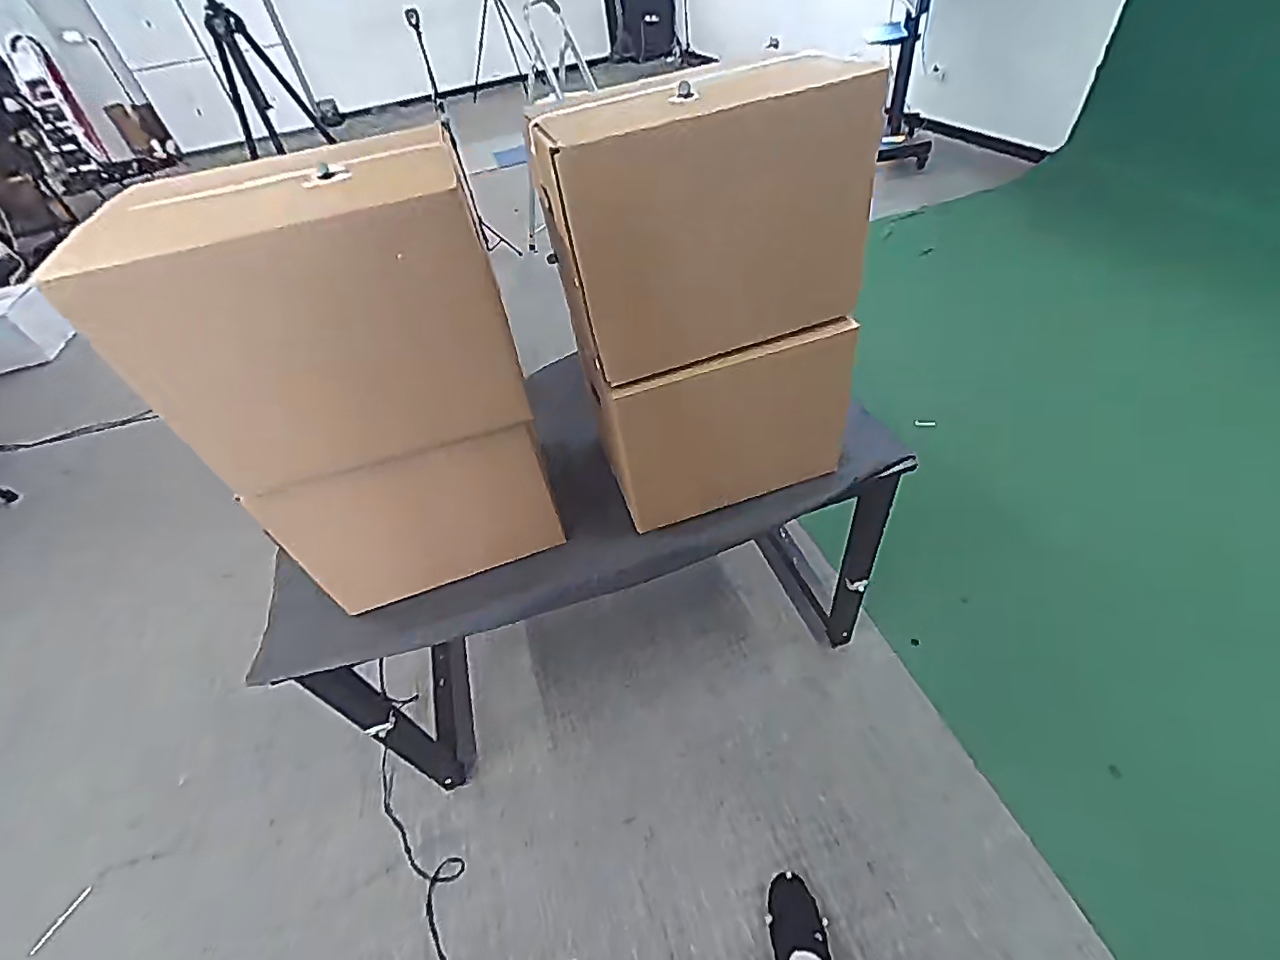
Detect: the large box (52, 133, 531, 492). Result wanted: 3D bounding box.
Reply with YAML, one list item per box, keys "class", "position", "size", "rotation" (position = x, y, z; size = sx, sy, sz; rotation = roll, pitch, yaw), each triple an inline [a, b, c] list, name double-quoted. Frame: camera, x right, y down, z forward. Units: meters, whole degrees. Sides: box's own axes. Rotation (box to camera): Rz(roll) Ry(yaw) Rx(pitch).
- class: "large box"
  position: [-0.399, -0.236, 0.743]
  size: [0.408, 0.320, 0.320]
  rotation: [-16, 47, -8]
